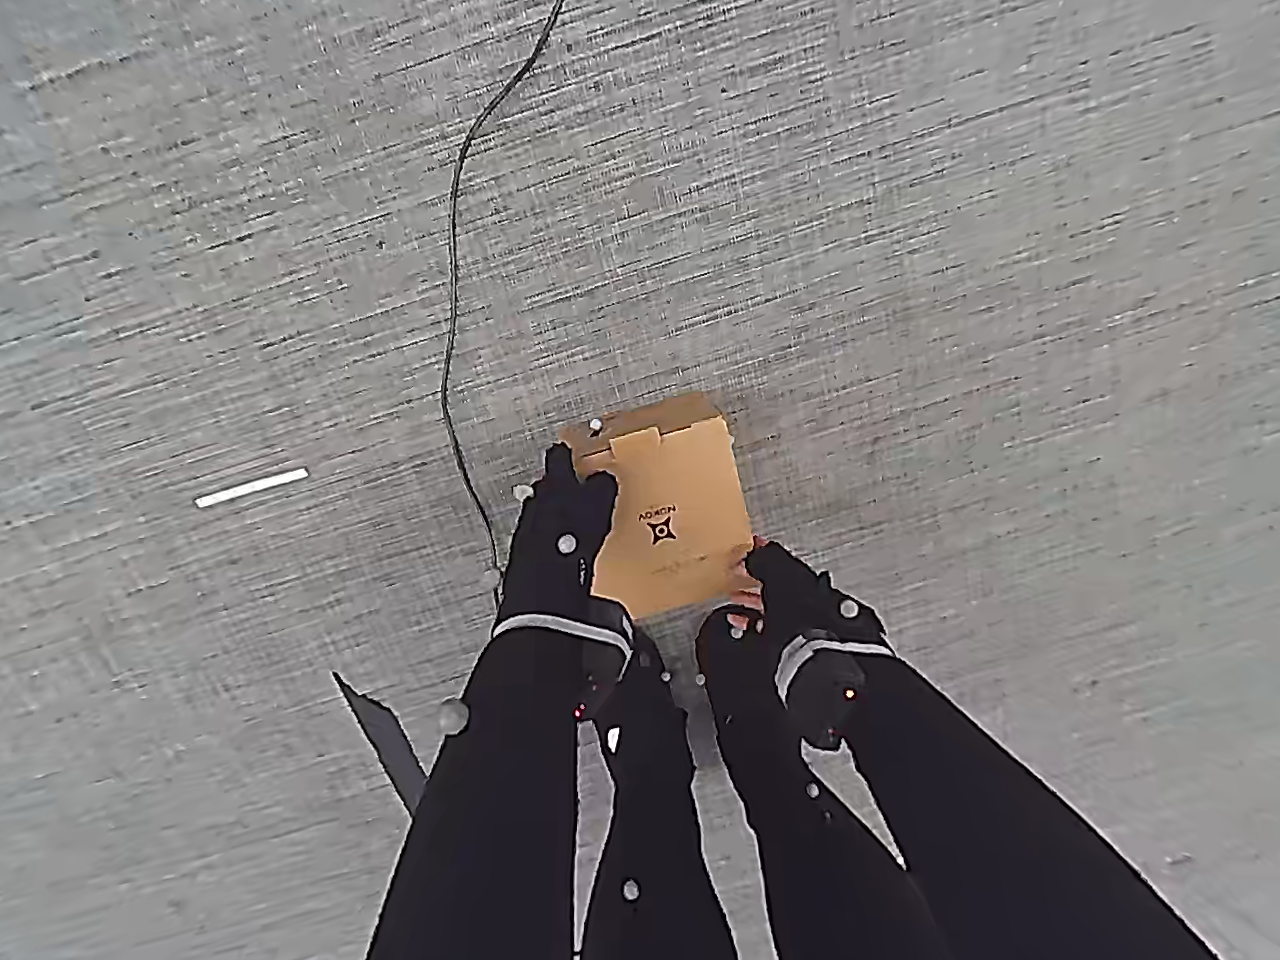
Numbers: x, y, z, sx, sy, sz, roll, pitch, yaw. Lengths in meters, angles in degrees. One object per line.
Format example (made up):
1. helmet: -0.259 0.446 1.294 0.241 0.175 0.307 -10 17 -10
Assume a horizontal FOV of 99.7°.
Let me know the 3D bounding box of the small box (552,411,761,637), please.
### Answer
1. small box: 0.014 0.032 0.579 0.168 0.176 0.179 -15 107 2
